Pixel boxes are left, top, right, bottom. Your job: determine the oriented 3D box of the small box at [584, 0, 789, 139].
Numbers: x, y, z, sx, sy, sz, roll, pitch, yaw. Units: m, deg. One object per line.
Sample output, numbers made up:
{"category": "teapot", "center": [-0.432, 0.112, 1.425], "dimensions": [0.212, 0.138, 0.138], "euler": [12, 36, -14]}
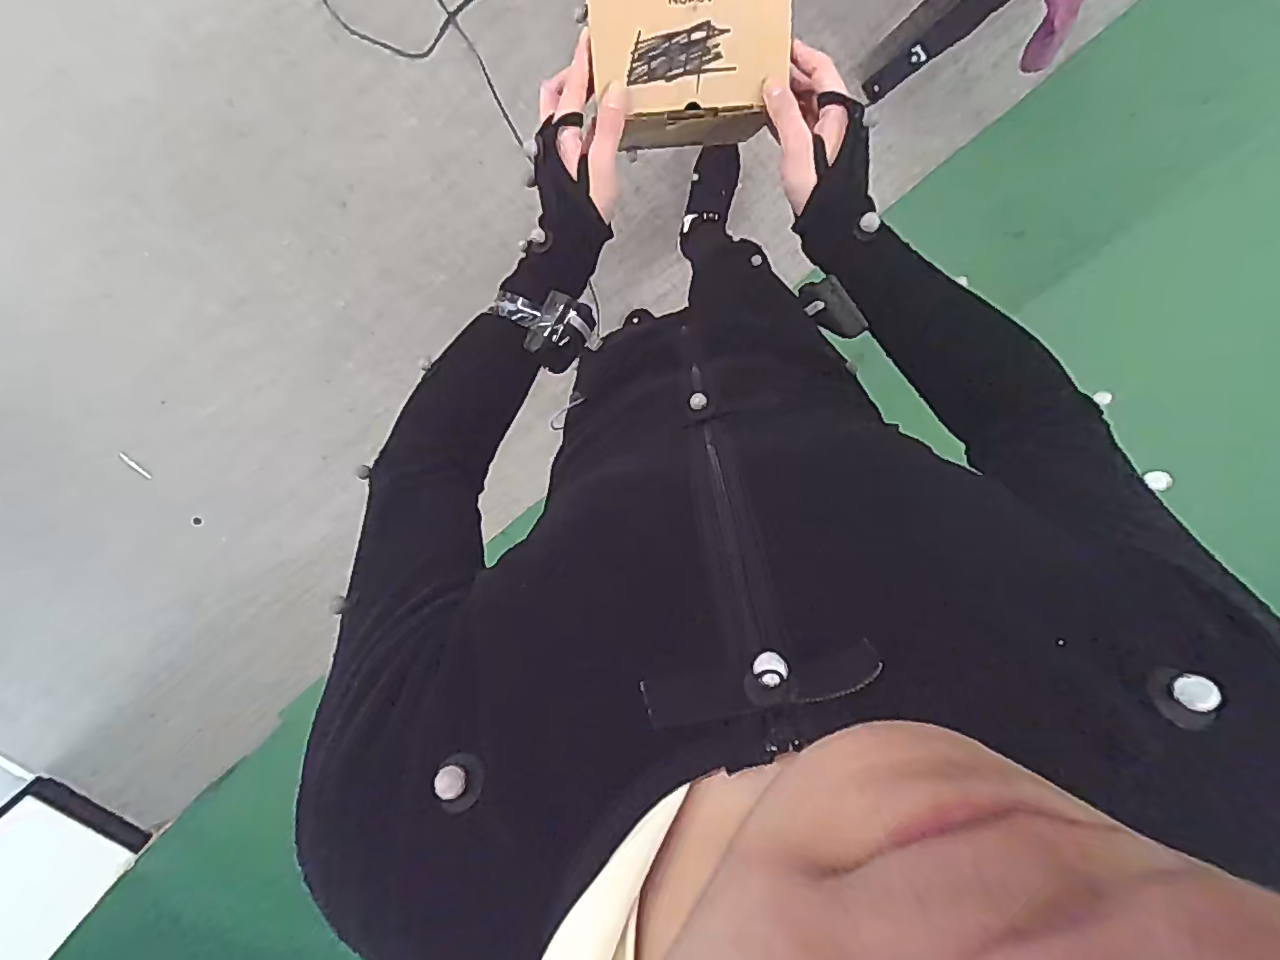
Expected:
{"category": "small box", "center": [0.034, -0.426, 0.494], "dimensions": [0.168, 0.176, 0.179], "euler": [-4, 112, -1]}
